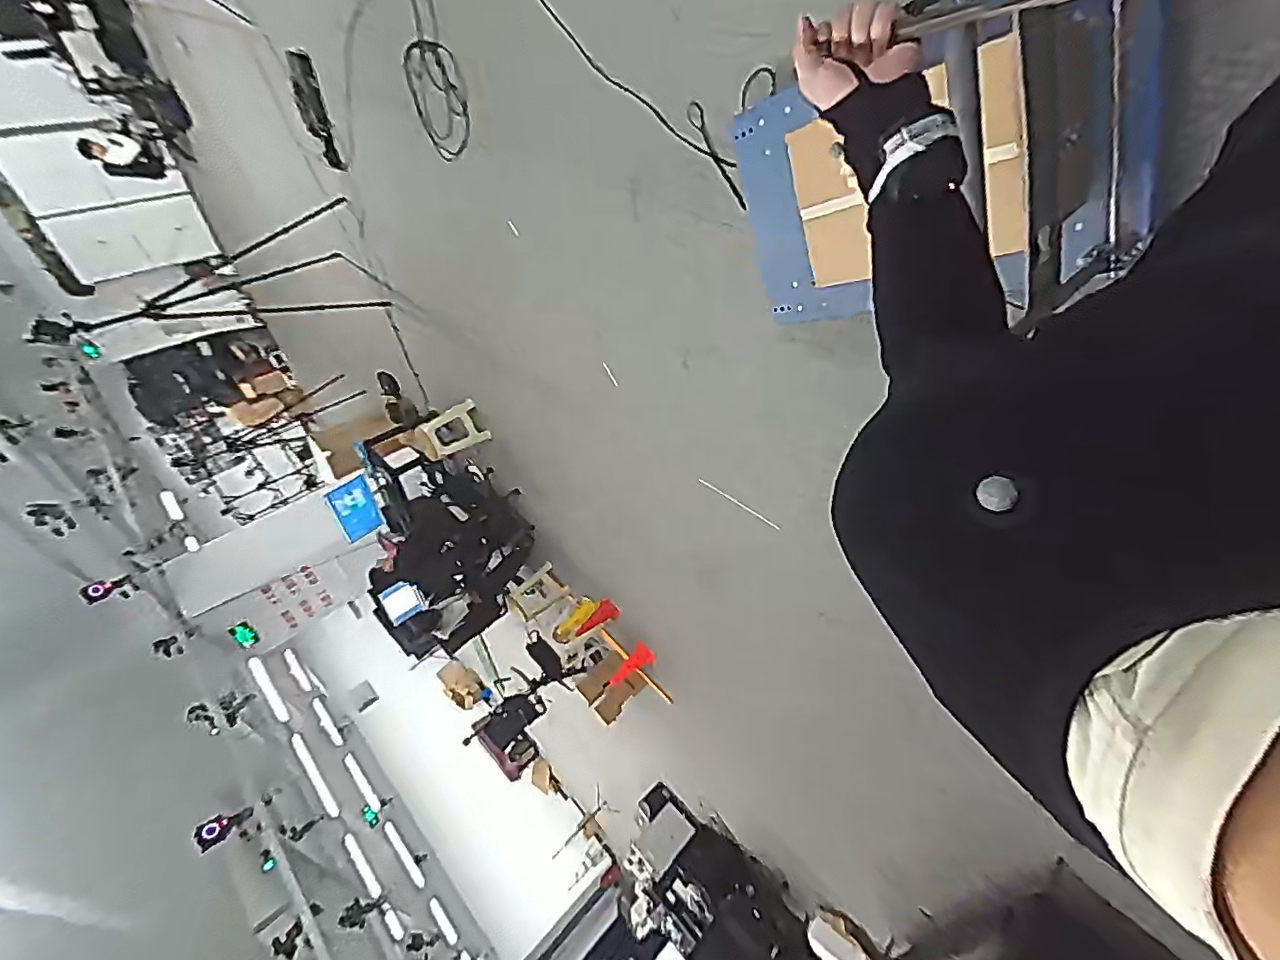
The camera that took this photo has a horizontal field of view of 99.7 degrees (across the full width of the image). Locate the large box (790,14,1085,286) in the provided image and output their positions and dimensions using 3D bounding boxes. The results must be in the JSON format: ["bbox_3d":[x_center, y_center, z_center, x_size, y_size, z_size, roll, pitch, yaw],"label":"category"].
[{"bbox_3d":[0.577,-0.616,1.060,0.408,0.320,0.320,10,127,51],"label":"large box"}]
